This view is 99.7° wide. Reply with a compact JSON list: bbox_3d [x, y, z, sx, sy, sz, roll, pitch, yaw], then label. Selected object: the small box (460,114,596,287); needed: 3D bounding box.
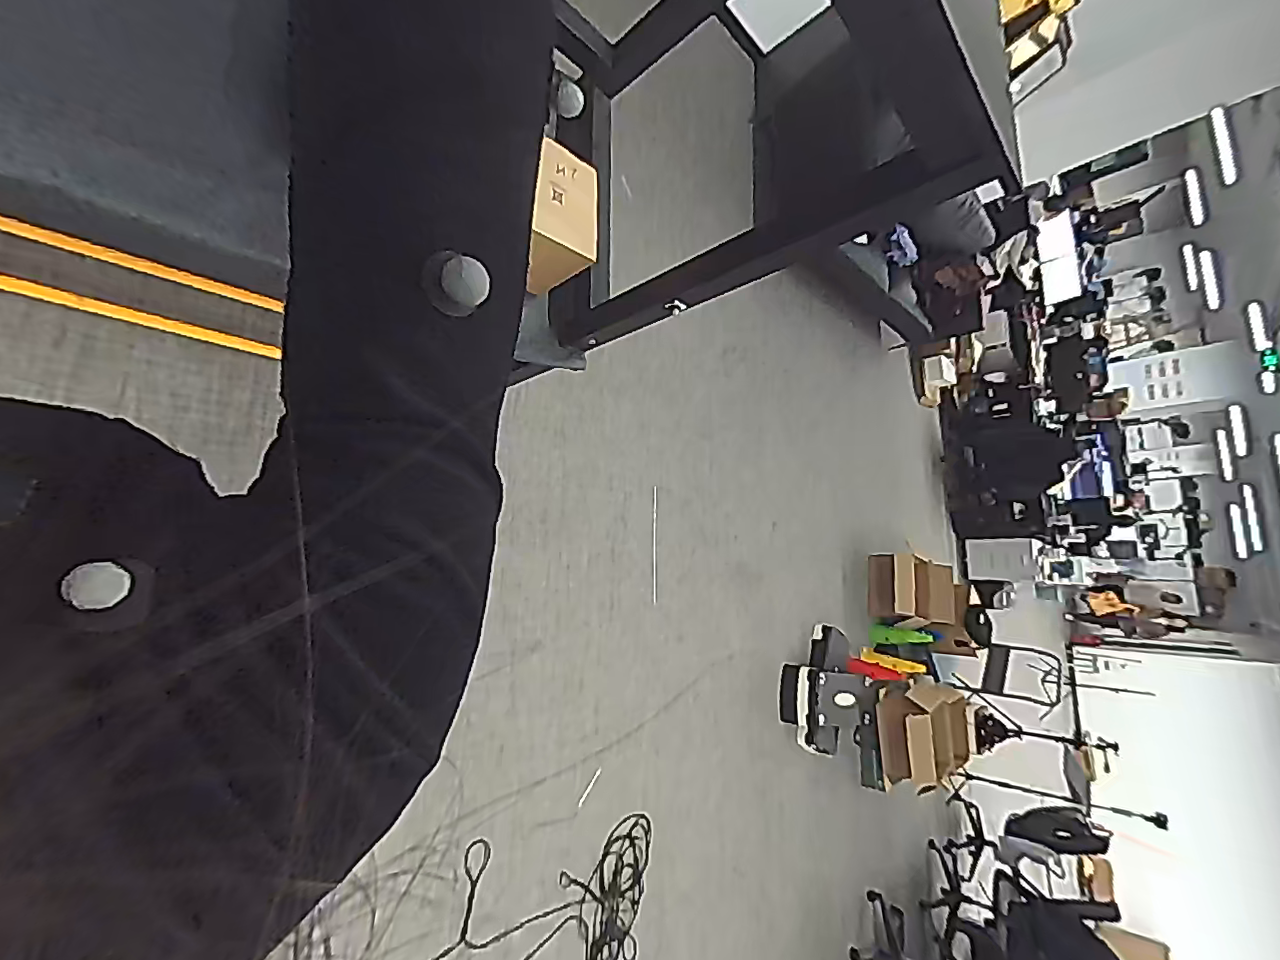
[{"bbox_3d":[-0.193,-0.460,0.926,0.168,0.176,0.179,9,77,-46],"label":"small box"}]
